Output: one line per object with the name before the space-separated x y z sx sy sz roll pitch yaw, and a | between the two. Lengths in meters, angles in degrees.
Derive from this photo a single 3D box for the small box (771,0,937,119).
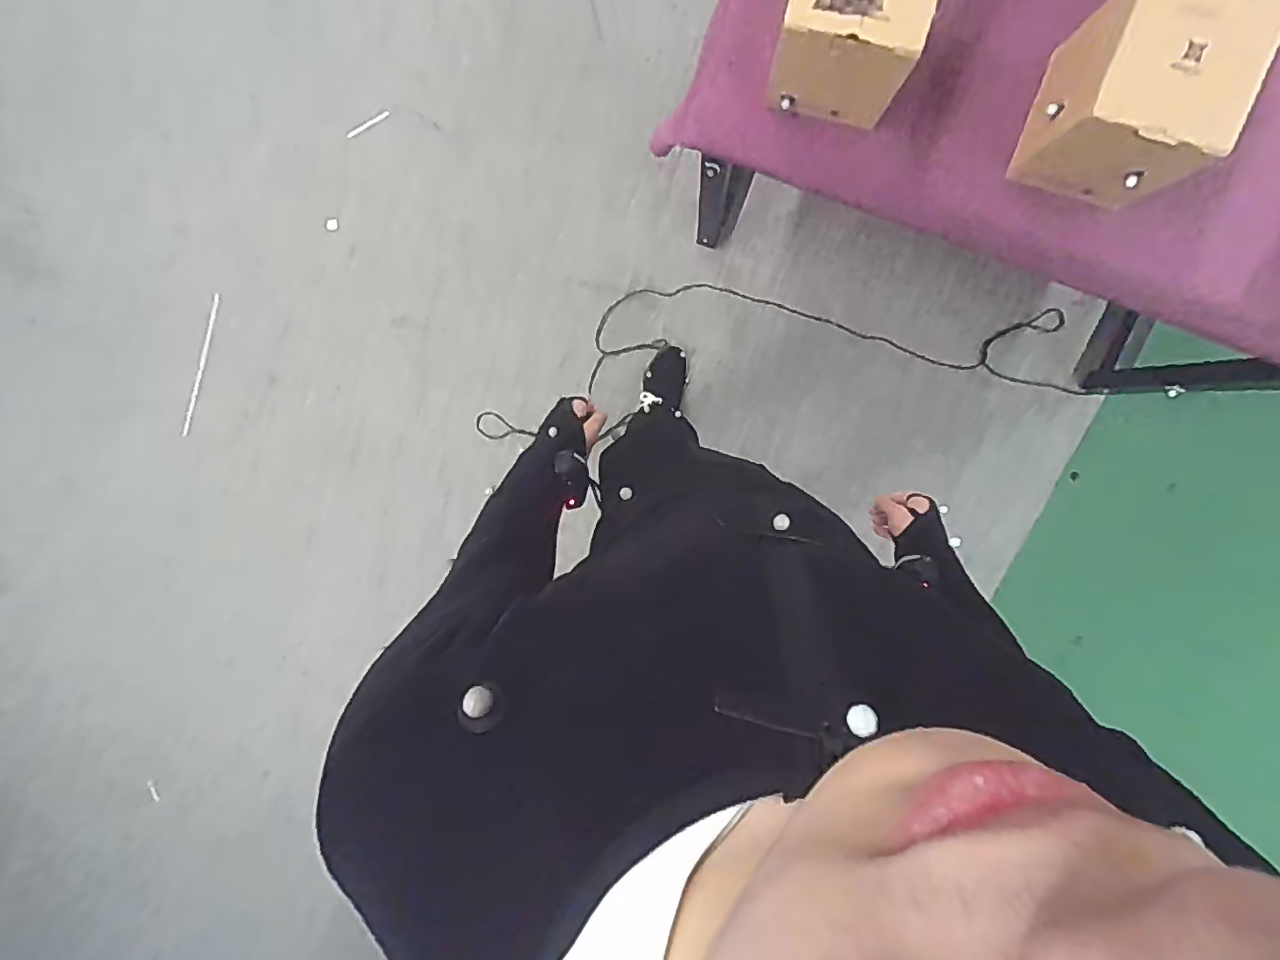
small box | 0.274 -0.603 0.687 0.168 0.176 0.179 15 98 3

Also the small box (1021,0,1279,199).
small box | 0.622 -0.482 0.671 0.168 0.176 0.179 19 98 2
